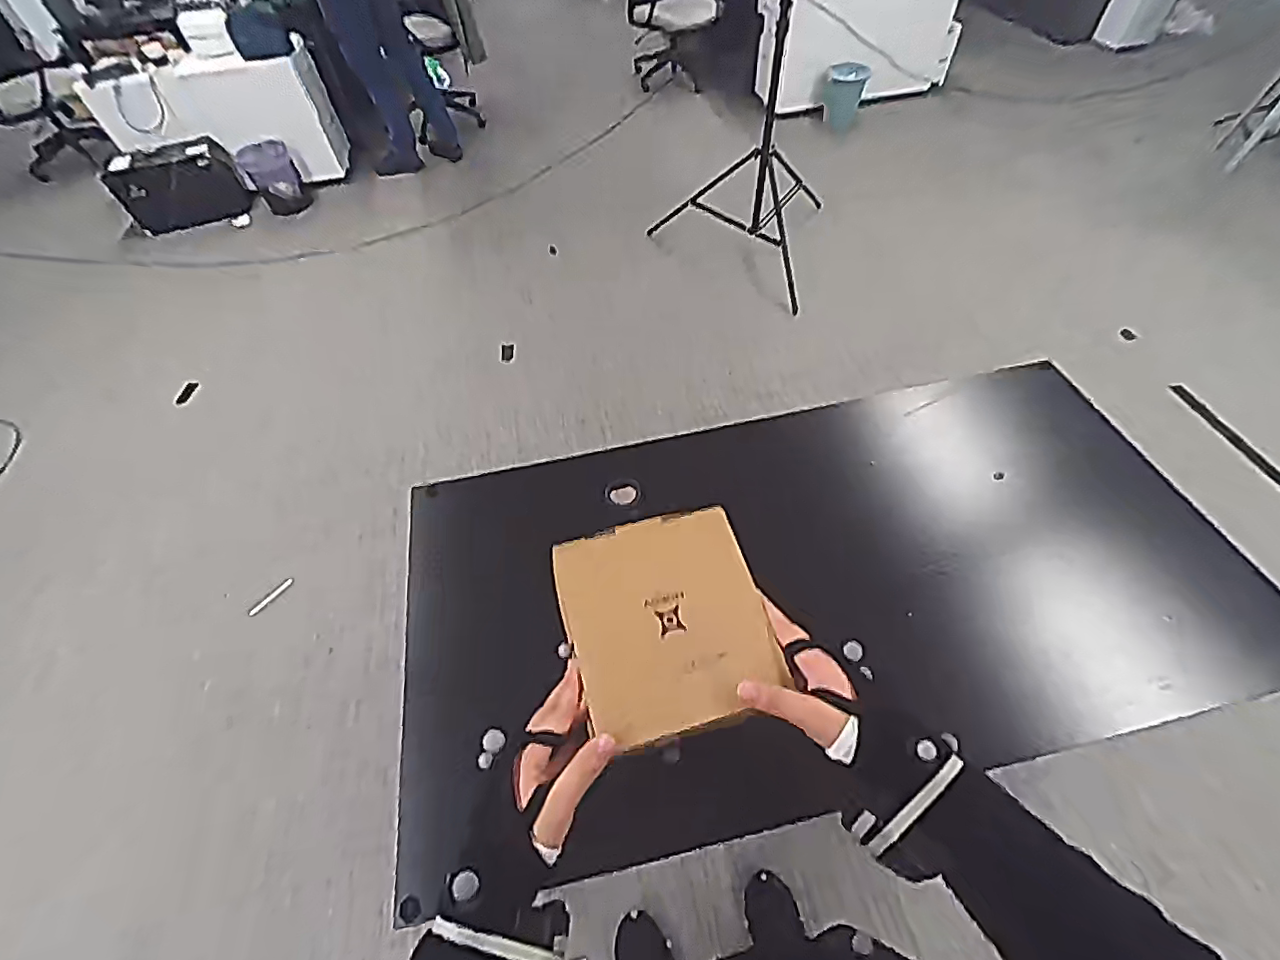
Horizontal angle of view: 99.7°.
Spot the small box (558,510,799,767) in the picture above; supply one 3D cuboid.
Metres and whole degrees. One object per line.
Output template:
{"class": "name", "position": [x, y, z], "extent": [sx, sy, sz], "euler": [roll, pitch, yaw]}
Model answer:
{"class": "small box", "position": [0.019, 0.156, 0.519], "extent": [0.168, 0.176, 0.179], "euler": [-12, 62, -12]}
